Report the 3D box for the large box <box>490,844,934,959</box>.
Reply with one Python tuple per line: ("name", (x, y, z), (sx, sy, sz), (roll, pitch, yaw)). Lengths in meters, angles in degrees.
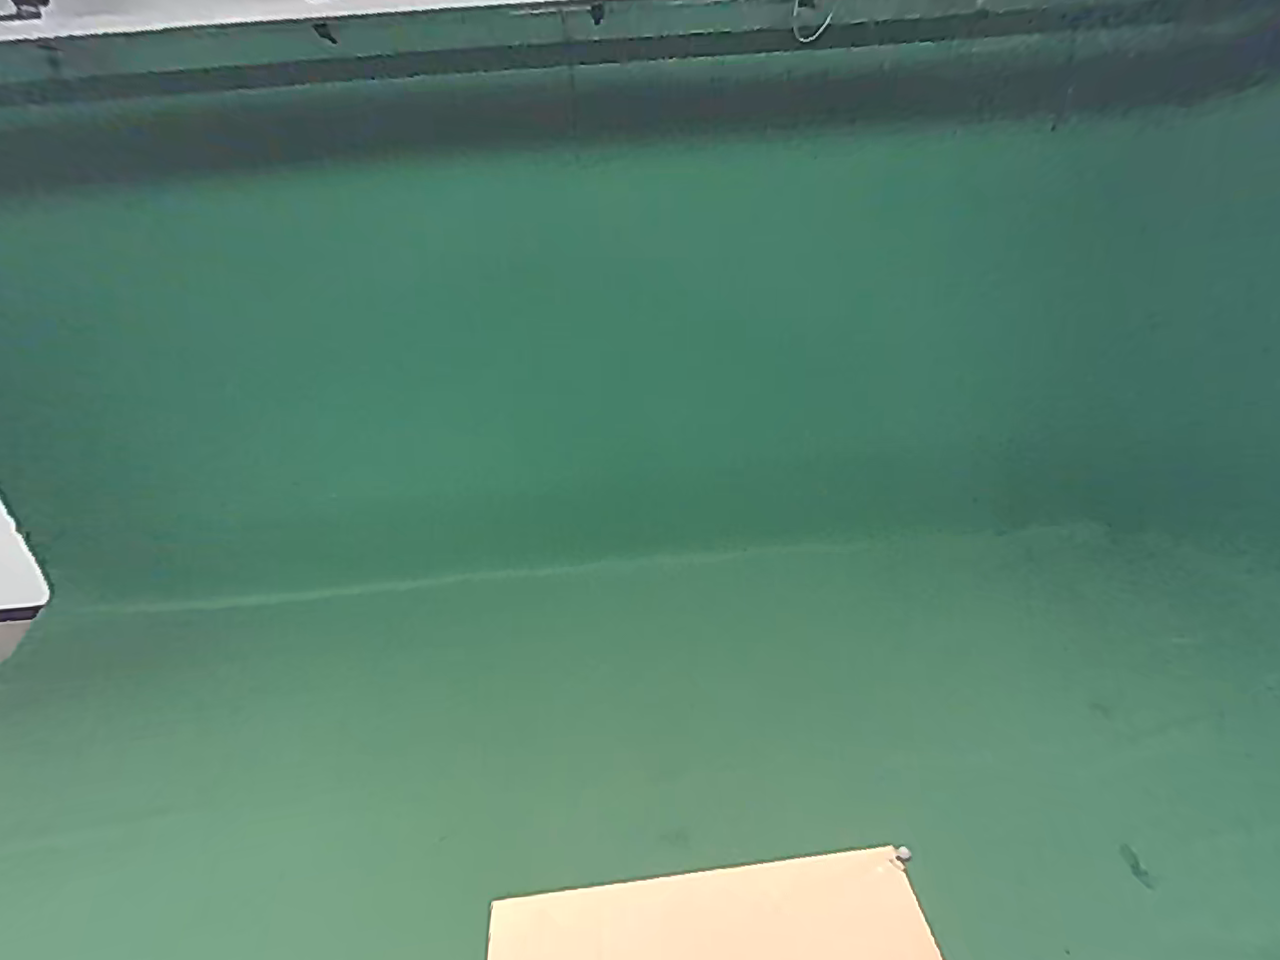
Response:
("large box", (0.074, 0.604, 0.507), (0.408, 0.320, 0.320), (-4, 37, -6))
